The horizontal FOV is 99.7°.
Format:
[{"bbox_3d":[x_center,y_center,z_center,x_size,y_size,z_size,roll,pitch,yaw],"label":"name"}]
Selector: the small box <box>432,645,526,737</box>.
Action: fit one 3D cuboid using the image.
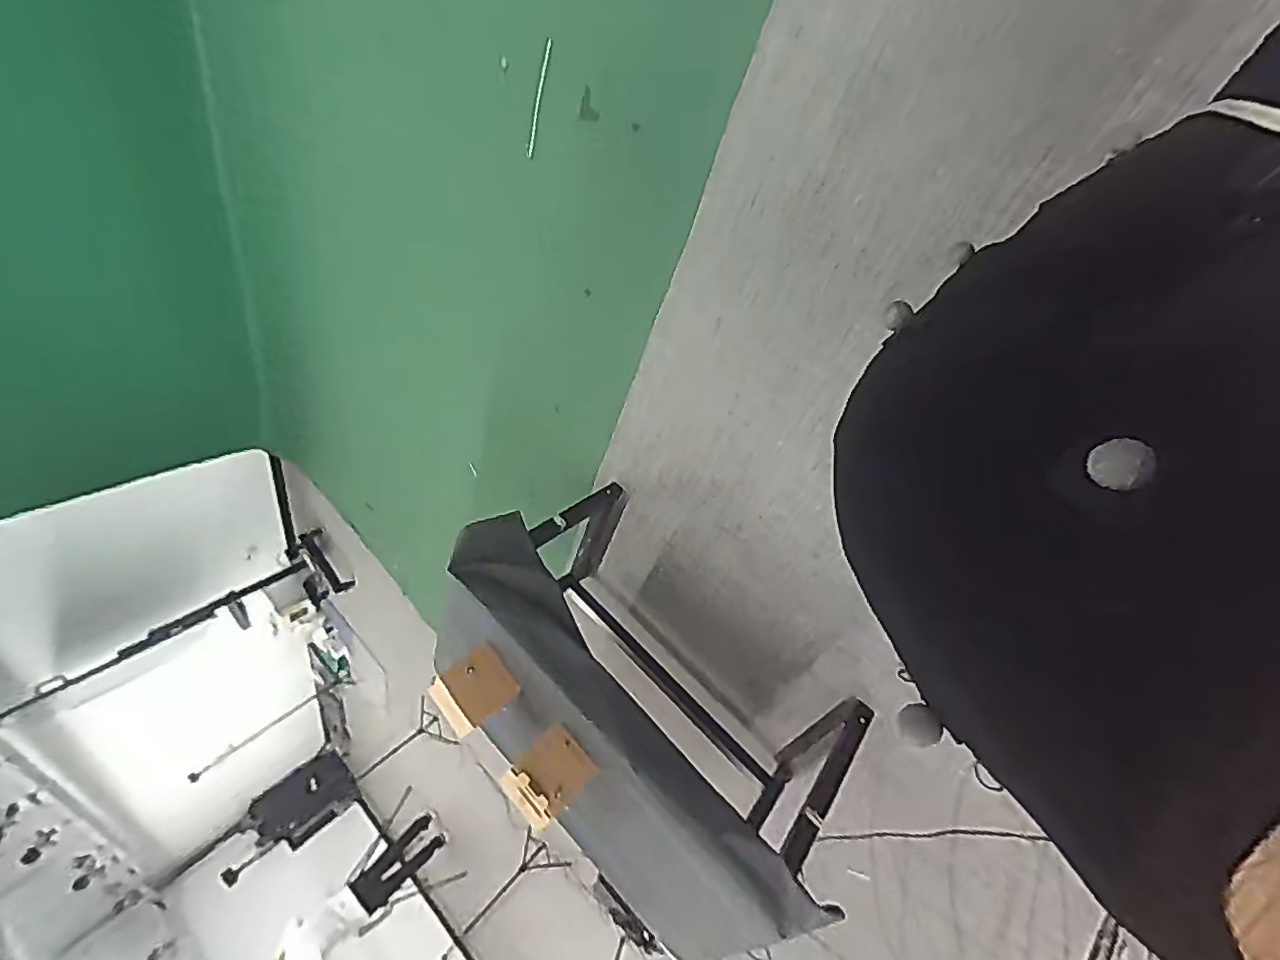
[{"bbox_3d":[-0.461,0.597,1.552,0.179,0.176,0.168,51,137,8],"label":"small box"}]
